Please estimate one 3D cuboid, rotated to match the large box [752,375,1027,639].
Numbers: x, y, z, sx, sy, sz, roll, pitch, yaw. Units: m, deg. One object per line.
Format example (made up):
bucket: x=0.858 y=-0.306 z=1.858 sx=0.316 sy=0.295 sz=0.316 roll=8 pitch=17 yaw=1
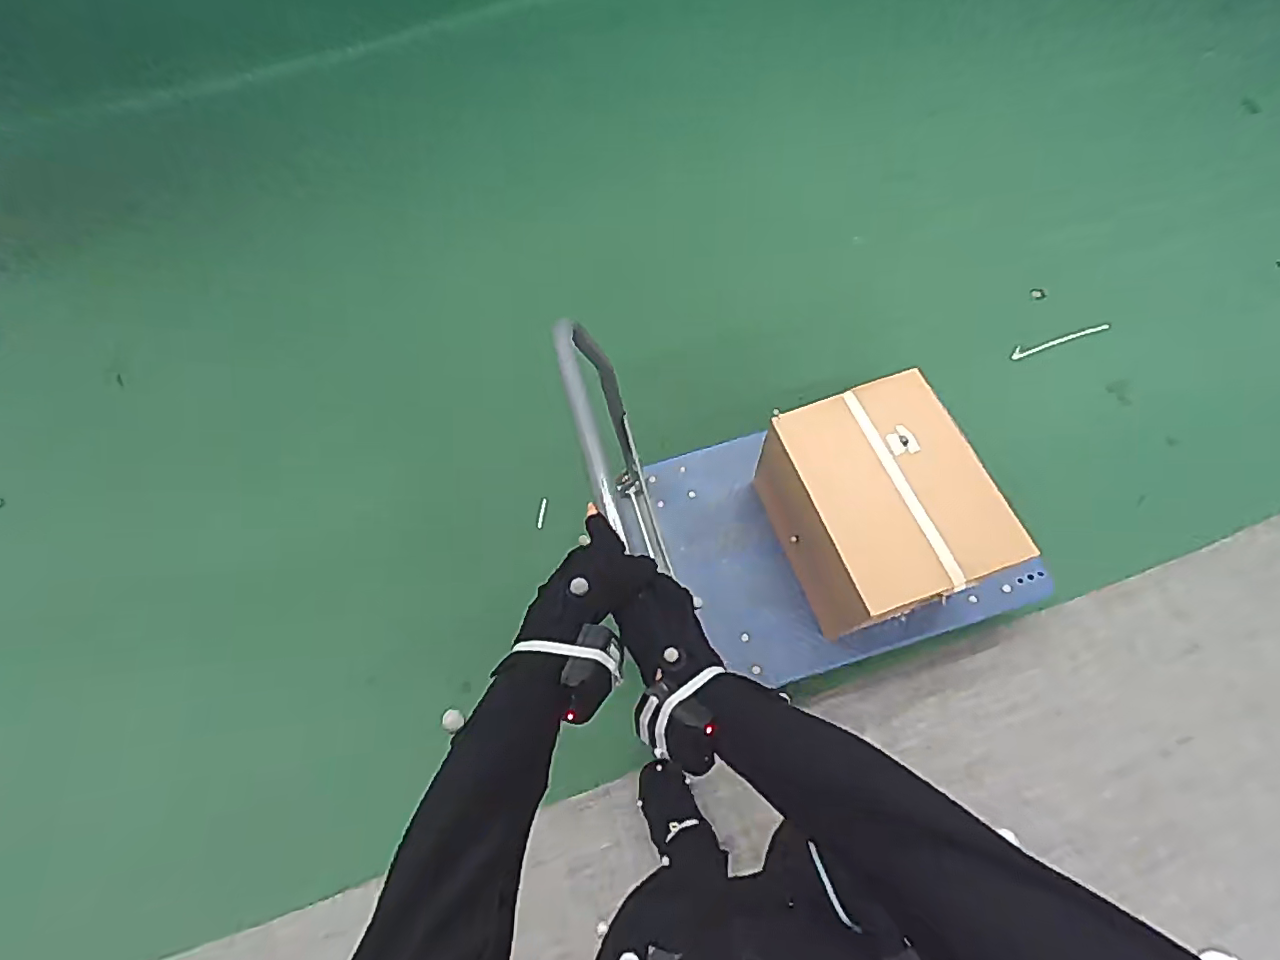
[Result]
large box: x=0.466 y=0.068 z=1.122 sx=0.320 sy=0.320 sz=0.408 roll=-19 pitch=66 yaw=-5
